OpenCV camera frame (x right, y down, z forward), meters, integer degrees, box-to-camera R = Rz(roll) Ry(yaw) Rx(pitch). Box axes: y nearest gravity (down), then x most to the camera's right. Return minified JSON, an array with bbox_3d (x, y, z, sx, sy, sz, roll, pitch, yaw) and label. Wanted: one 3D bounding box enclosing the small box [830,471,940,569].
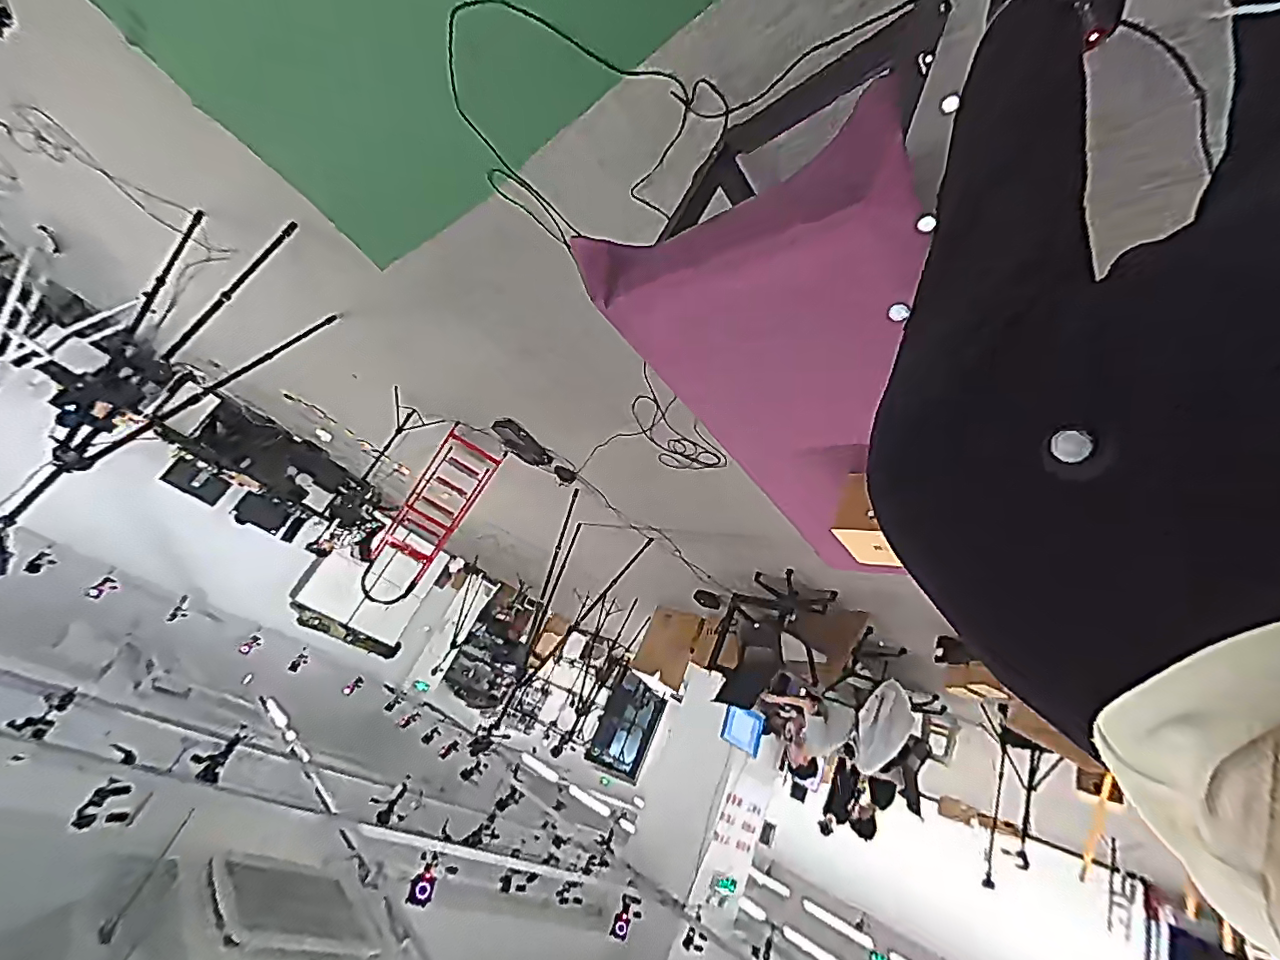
[{"bbox_3d":[0.588,0.094,1.292,0.179,0.176,0.168,-5,141,48],"label":"small box"}]
